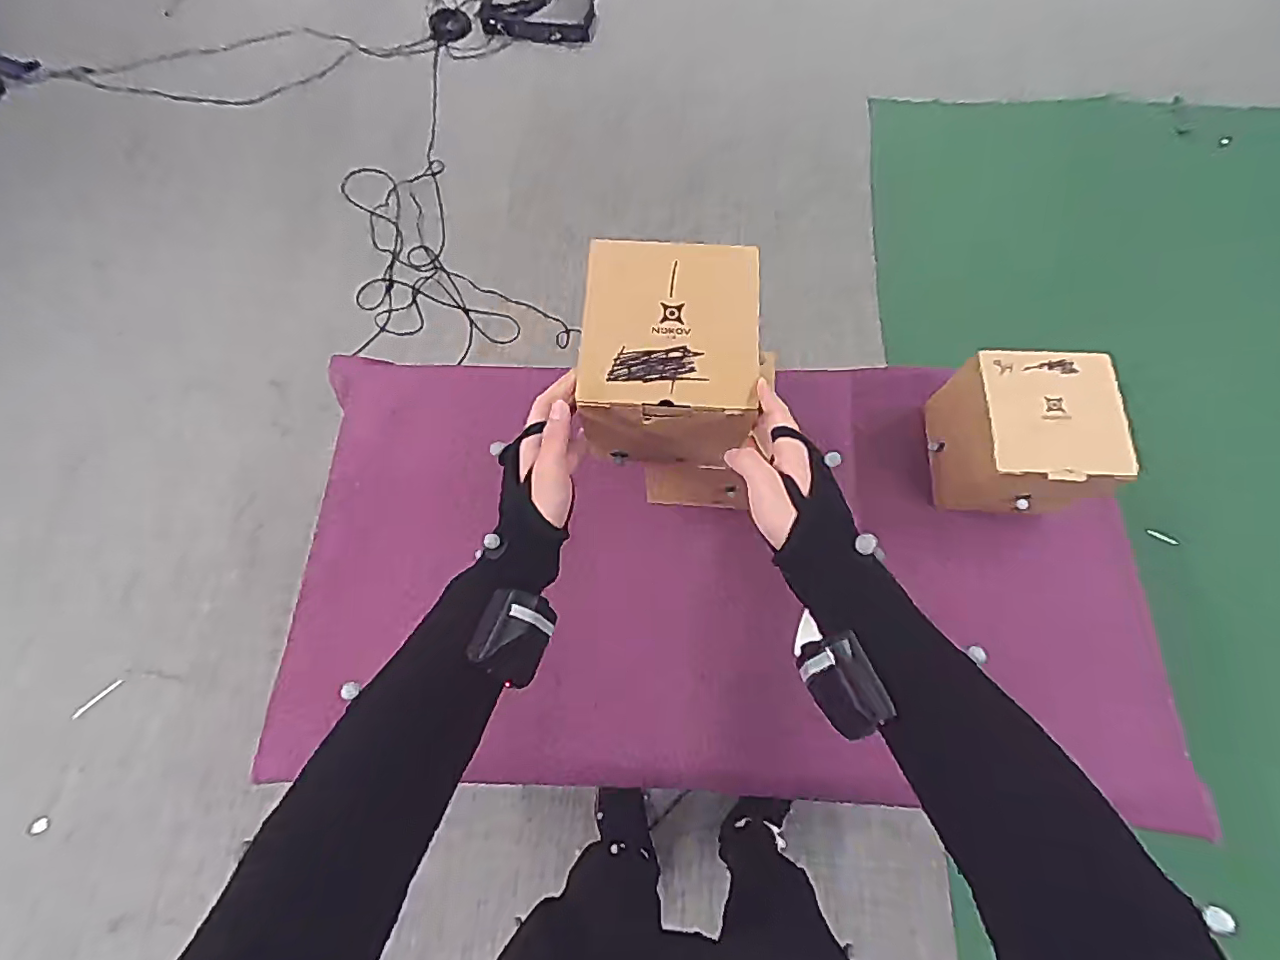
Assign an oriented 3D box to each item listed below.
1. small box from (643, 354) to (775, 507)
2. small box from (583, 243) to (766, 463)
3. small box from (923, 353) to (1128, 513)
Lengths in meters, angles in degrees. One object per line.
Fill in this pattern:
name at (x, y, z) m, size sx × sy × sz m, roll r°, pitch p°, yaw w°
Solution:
small box at (0.097, -0.069, 0.789) m, size 0.168 × 0.176 × 0.179 m, roll 5°, pitch 70°, yaw 4°
small box at (0.038, -0.125, 0.584) m, size 0.168 × 0.176 × 0.179 m, roll 3°, pitch 73°, yaw 2°
small box at (0.522, -0.058, 0.761) m, size 0.168 × 0.176 × 0.179 m, roll 3°, pitch 72°, yaw 4°
